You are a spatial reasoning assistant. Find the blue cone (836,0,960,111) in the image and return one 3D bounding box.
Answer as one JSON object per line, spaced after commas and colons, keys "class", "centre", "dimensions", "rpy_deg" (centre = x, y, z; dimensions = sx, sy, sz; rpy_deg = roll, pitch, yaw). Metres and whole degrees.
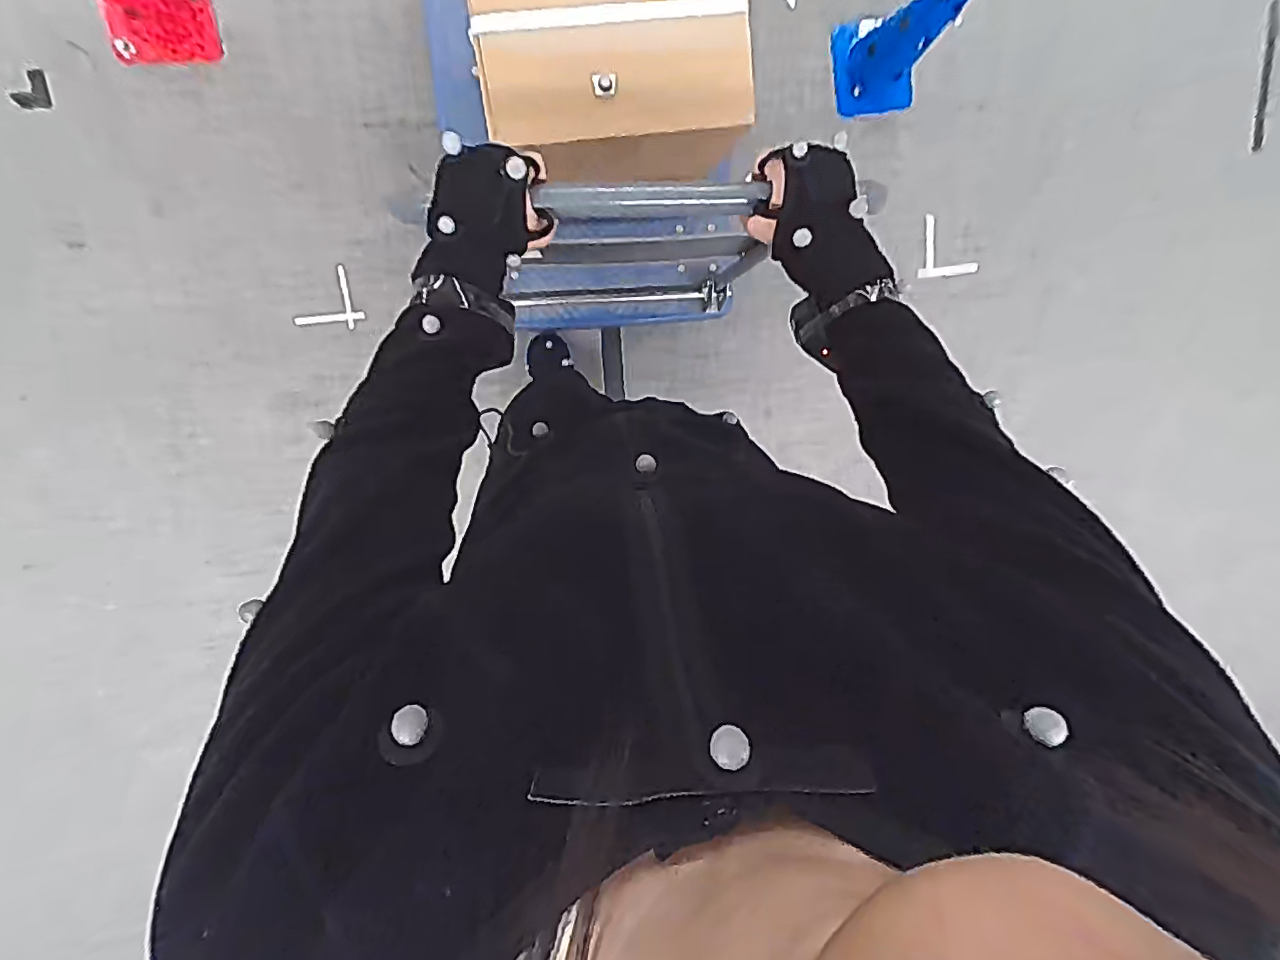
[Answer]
{"class": "blue cone", "centre": [0.593, -0.971, 1.148], "dimensions": [0.193, 0.380, 0.192], "rpy_deg": [-10, 102, -7]}
